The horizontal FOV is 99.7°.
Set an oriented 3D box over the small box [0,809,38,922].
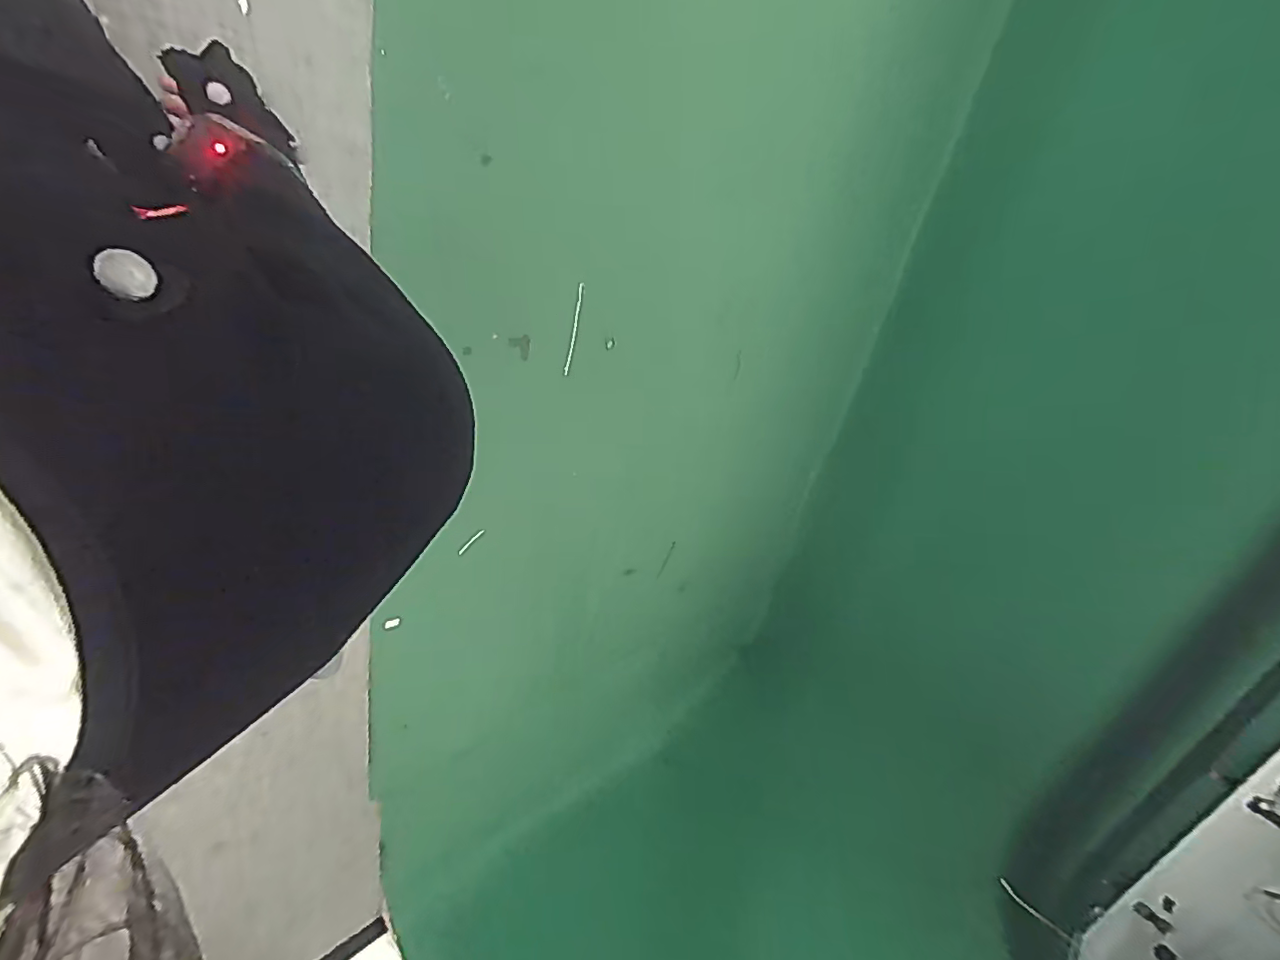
[{"bbox_3d":[-1.527,0.911,1.237,0.179,0.176,0.168,-15,127,-44],"label":"small box"}]
